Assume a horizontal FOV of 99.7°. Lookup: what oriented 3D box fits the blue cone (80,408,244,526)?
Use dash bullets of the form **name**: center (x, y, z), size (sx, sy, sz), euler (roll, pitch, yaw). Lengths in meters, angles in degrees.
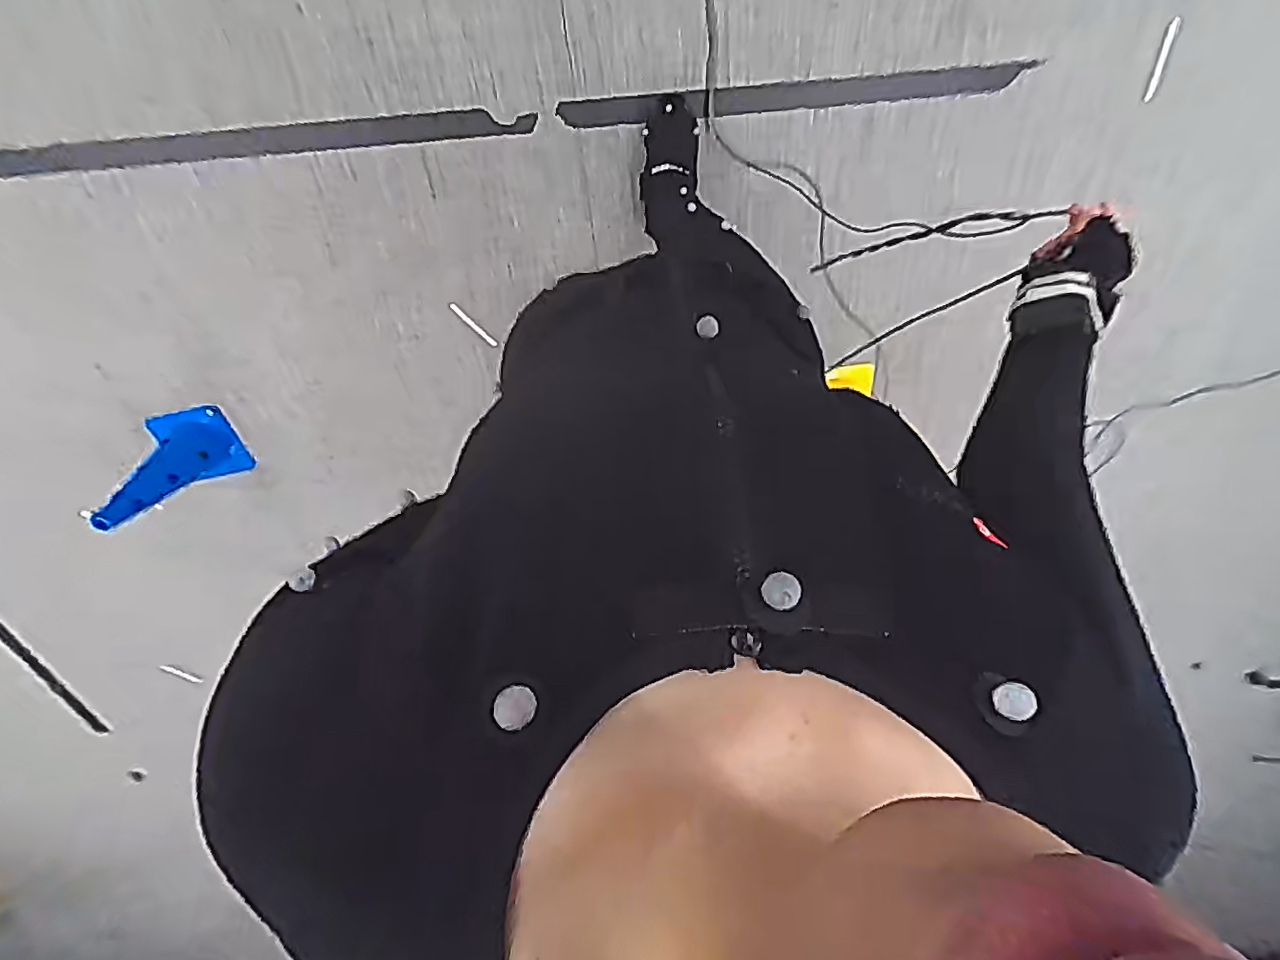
- **blue cone**: center (-1.159, -0.006, 1.287), size (0.193, 0.380, 0.192), euler (-11, 122, 2)
